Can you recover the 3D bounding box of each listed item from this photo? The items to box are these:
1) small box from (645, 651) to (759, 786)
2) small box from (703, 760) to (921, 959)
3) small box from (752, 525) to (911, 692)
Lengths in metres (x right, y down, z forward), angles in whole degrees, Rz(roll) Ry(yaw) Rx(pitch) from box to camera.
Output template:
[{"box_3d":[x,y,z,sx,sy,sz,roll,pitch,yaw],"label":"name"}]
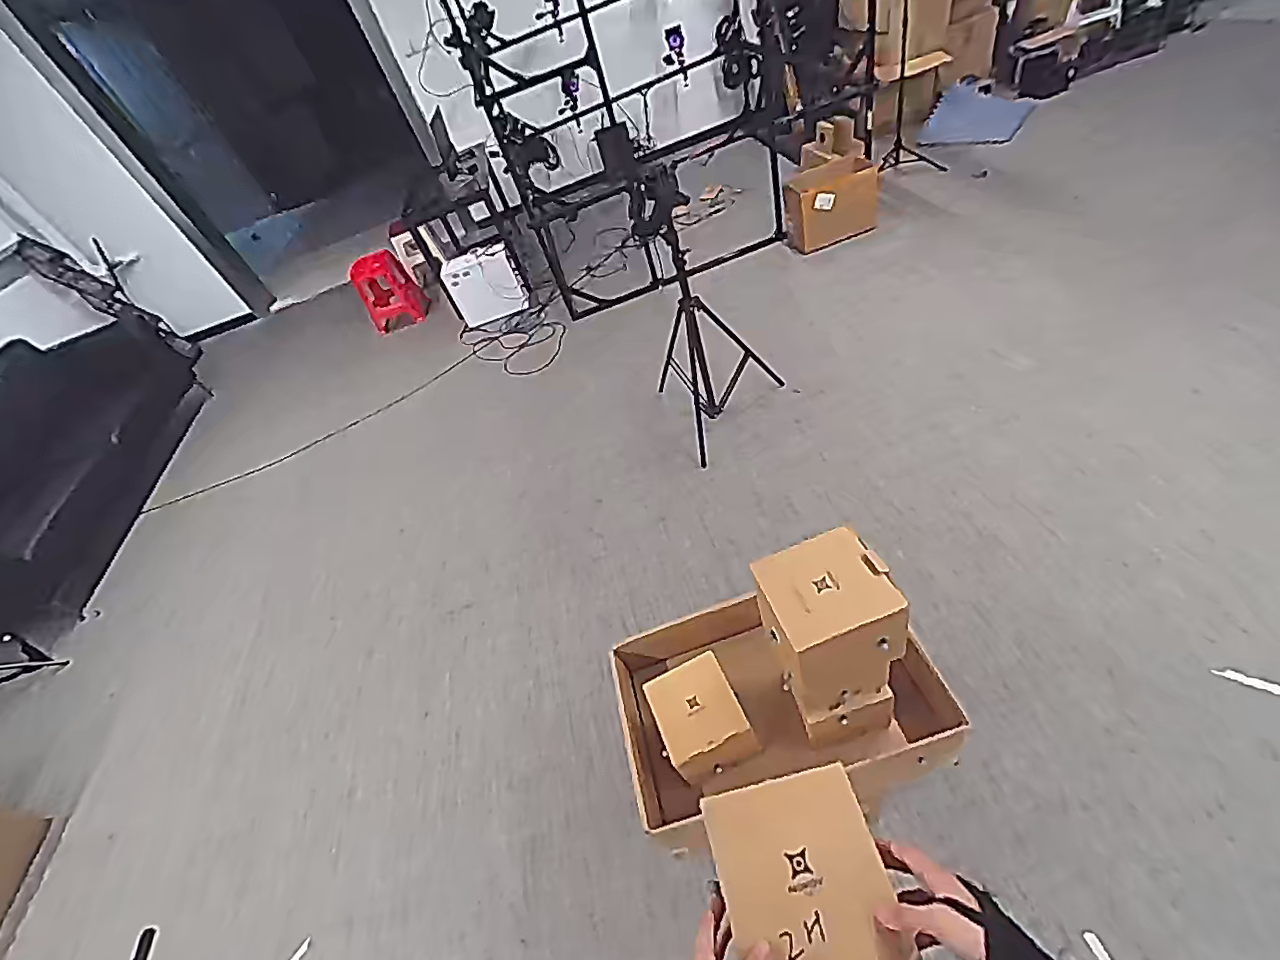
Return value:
[{"box_3d":[0.131,0.498,1.126,0.168,0.176,0.179,-27,45,-3],"label":"small box"},{"box_3d":[0.172,0.443,0.604,0.168,0.176,0.179,-14,51,-1],"label":"small box"},{"box_3d":[0.298,0.207,0.862,0.179,0.176,0.168,-23,44,0],"label":"small box"}]
